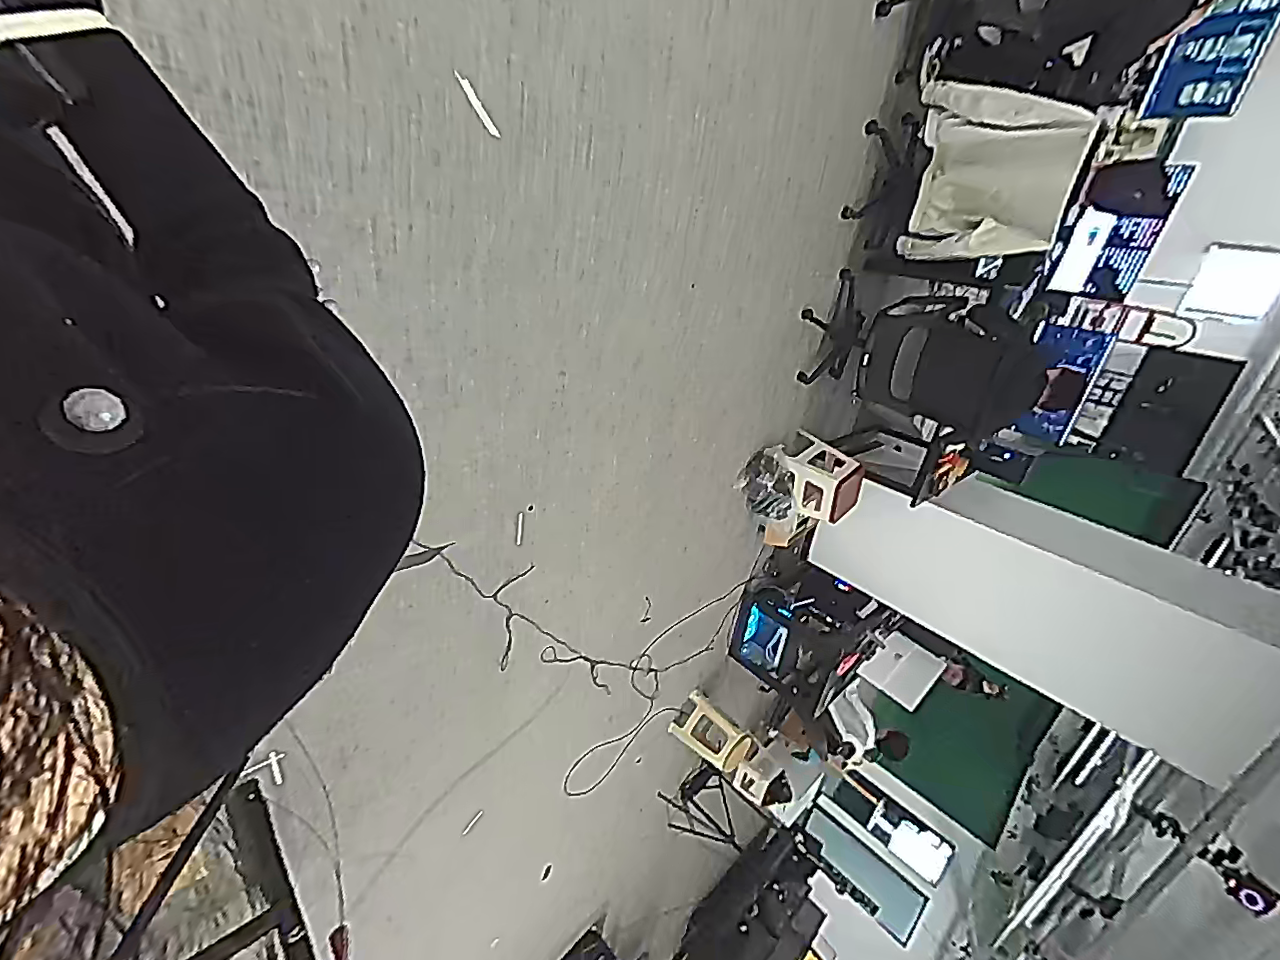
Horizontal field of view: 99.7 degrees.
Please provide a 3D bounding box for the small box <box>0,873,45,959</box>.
[{"bbox_3d":[-1.534,1.080,1.264,0.168,0.176,0.179,-17,124,-42],"label":"small box"}]

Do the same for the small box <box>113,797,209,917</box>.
[{"bbox_3d":[-1.312,1.024,1.482,0.168,0.176,0.179,-15,124,-43],"label":"small box"}]
